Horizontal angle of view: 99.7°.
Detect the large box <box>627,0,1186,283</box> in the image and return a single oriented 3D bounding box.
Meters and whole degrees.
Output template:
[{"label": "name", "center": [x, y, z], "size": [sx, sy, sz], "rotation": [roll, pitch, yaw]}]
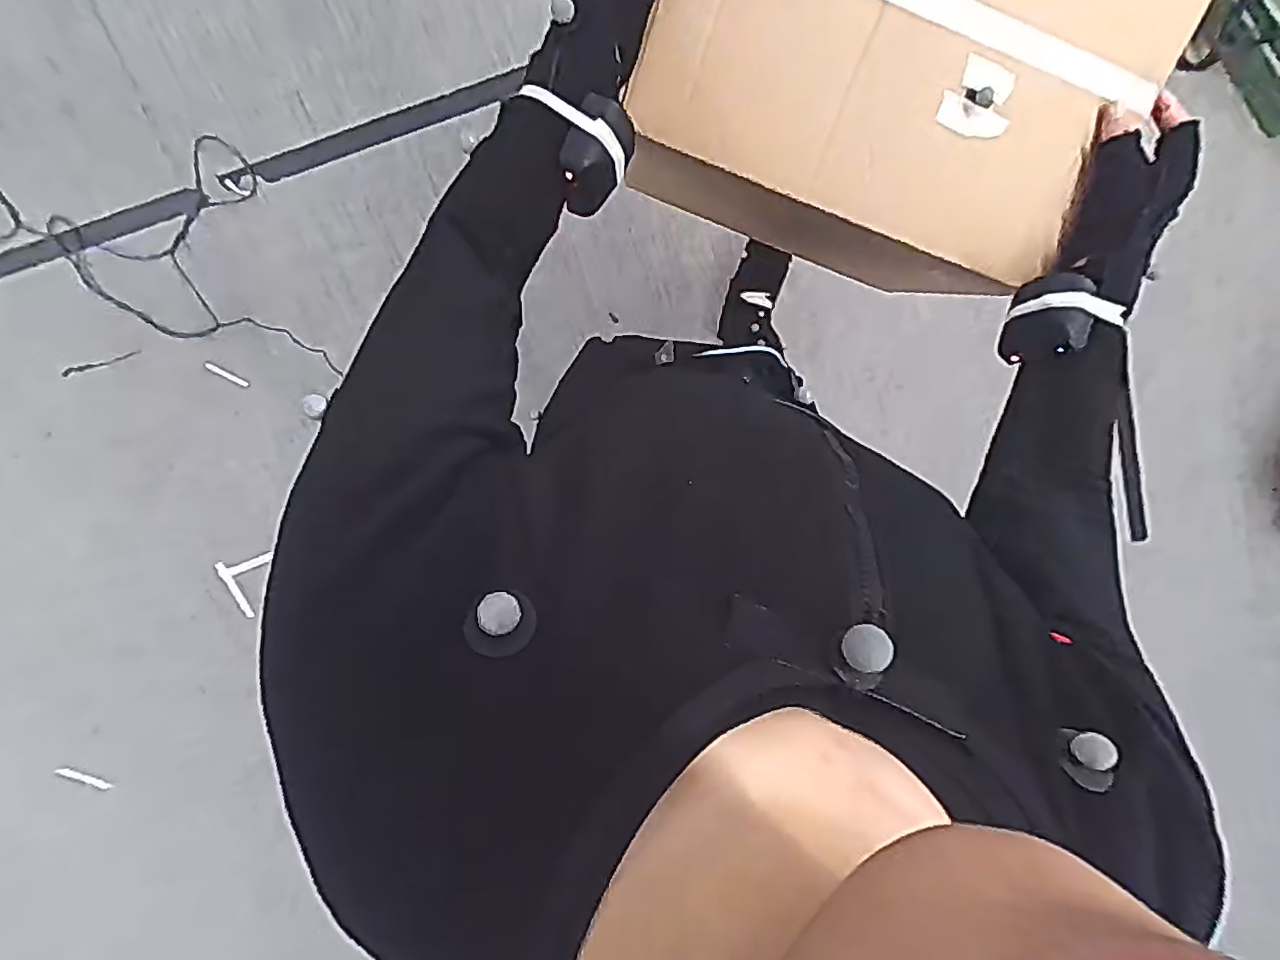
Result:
[{"label": "large box", "center": [0.218, -0.427, 0.571], "size": [0.408, 0.320, 0.320], "rotation": [18, 110, -8]}]
